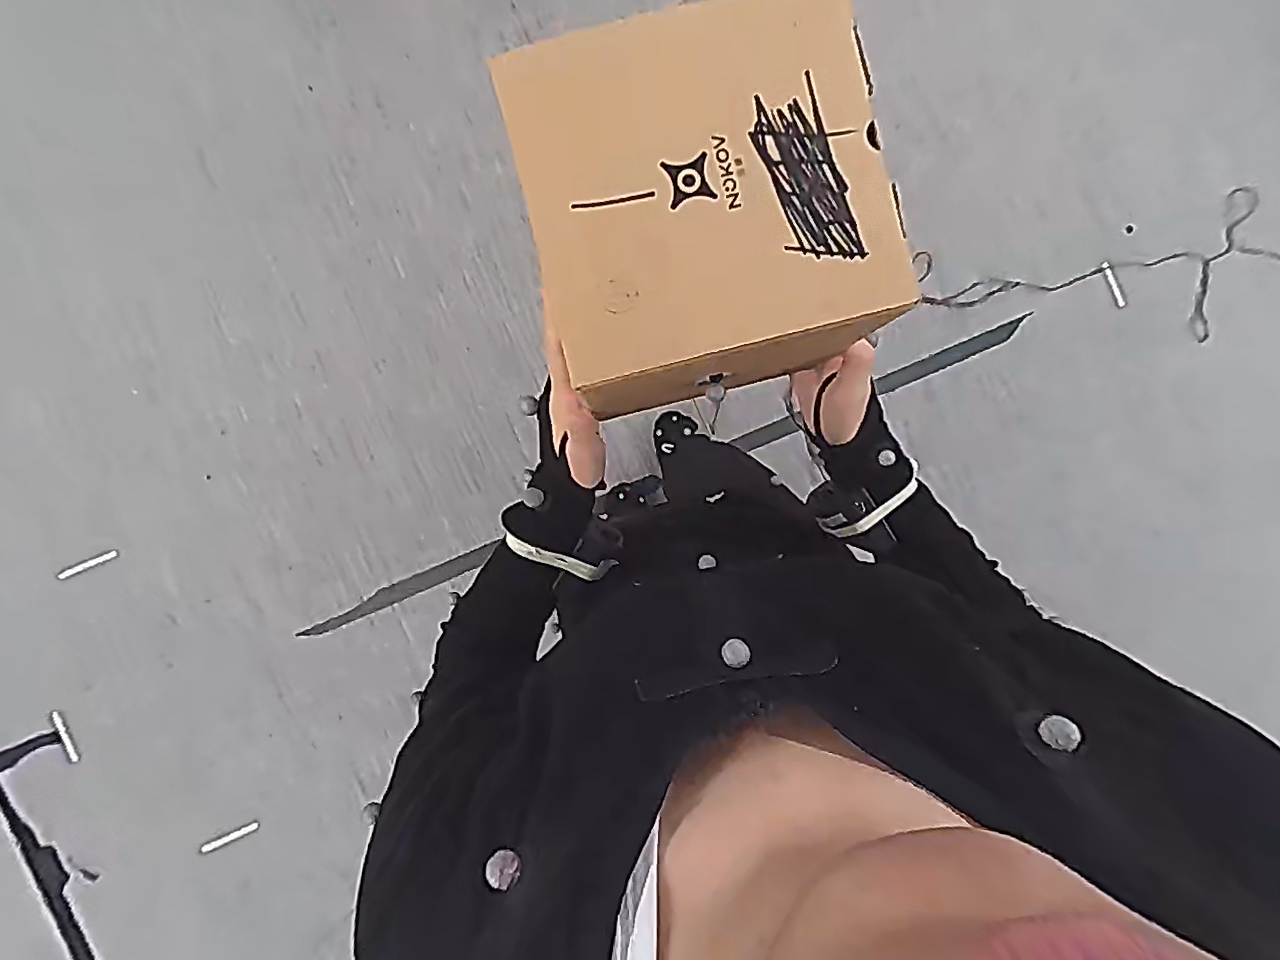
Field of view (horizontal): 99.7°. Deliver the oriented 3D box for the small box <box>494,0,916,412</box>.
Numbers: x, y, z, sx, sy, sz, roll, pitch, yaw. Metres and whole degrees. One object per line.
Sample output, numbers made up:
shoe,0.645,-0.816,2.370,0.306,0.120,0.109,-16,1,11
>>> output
small box,0.032,-0.146,0.339,0.179,0.176,0.168,-14,91,1
